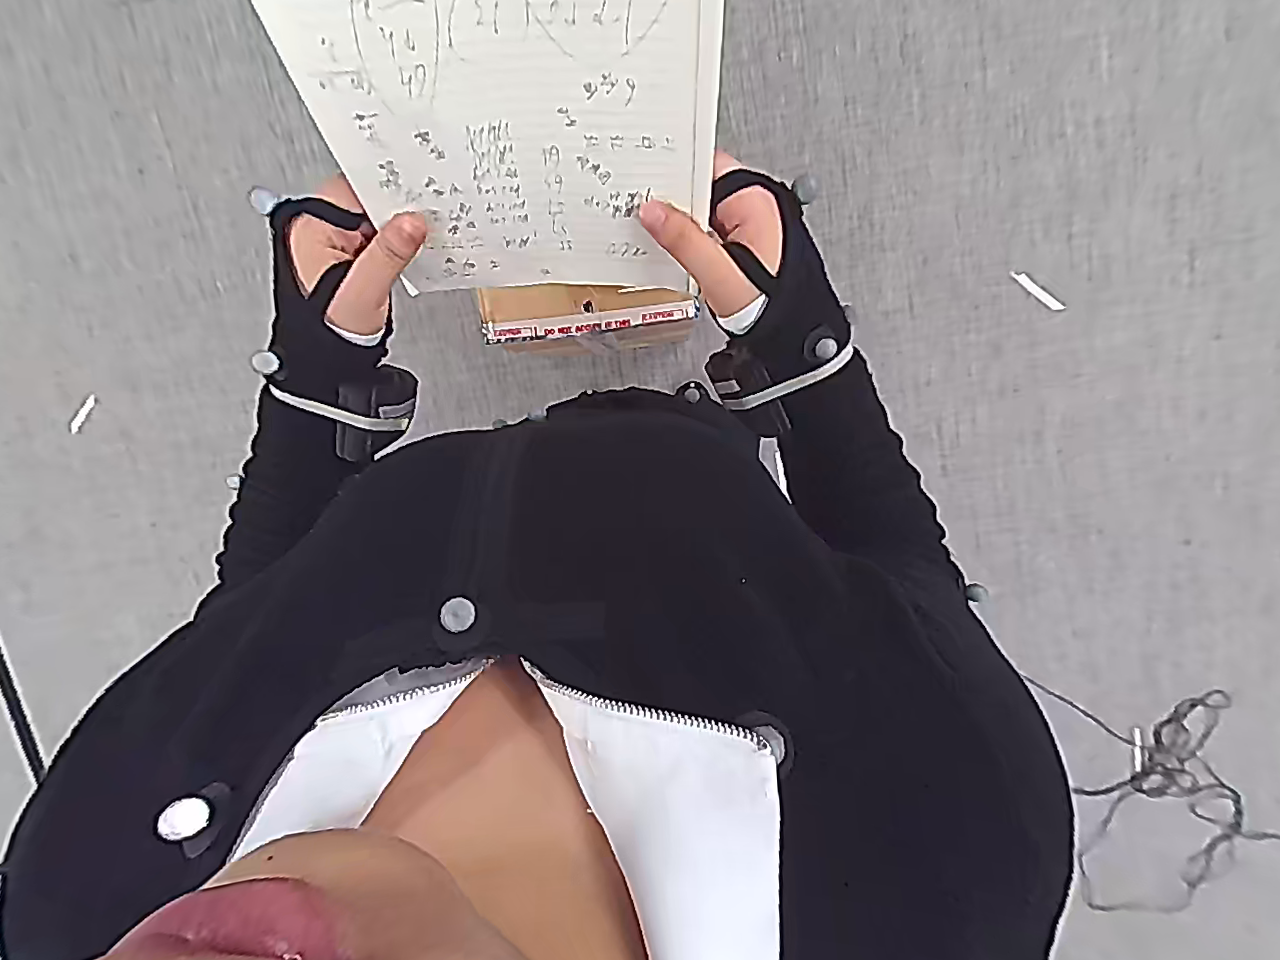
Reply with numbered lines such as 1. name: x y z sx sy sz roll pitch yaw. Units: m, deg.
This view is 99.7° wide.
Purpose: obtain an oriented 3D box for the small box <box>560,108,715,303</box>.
1. small box: -0.002 -0.340 0.702 0.168 0.176 0.179 -7 101 1

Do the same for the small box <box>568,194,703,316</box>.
1. small box: -0.006 -0.368 0.865 0.179 0.176 0.168 -11 100 3
